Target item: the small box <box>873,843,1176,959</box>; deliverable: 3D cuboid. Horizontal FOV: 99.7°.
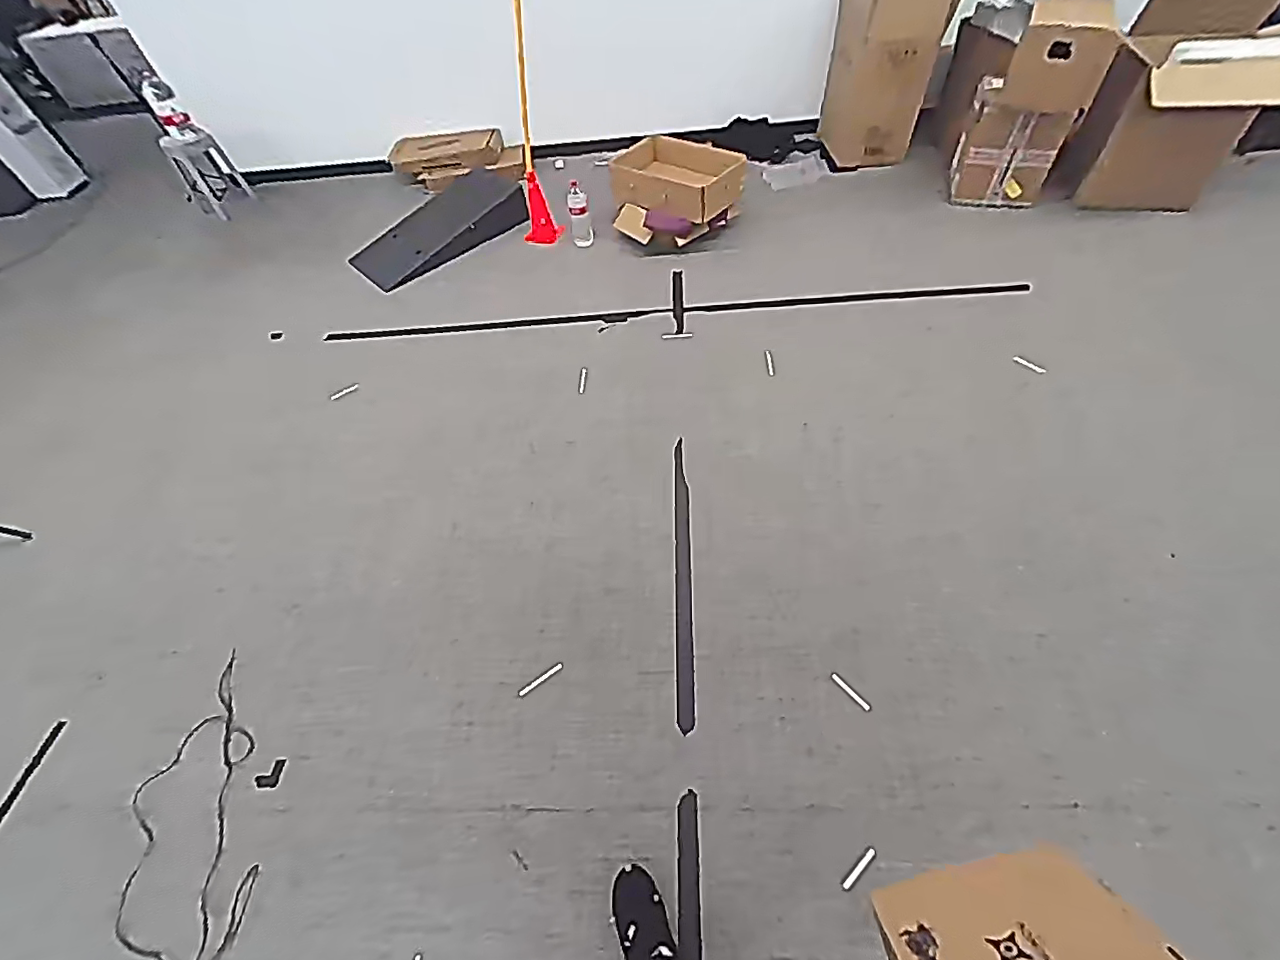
[{"bbox_3d":[0.312,0.431,0.413,0.179,0.168,0.176,-17,91,4],"label":"small box"}]
